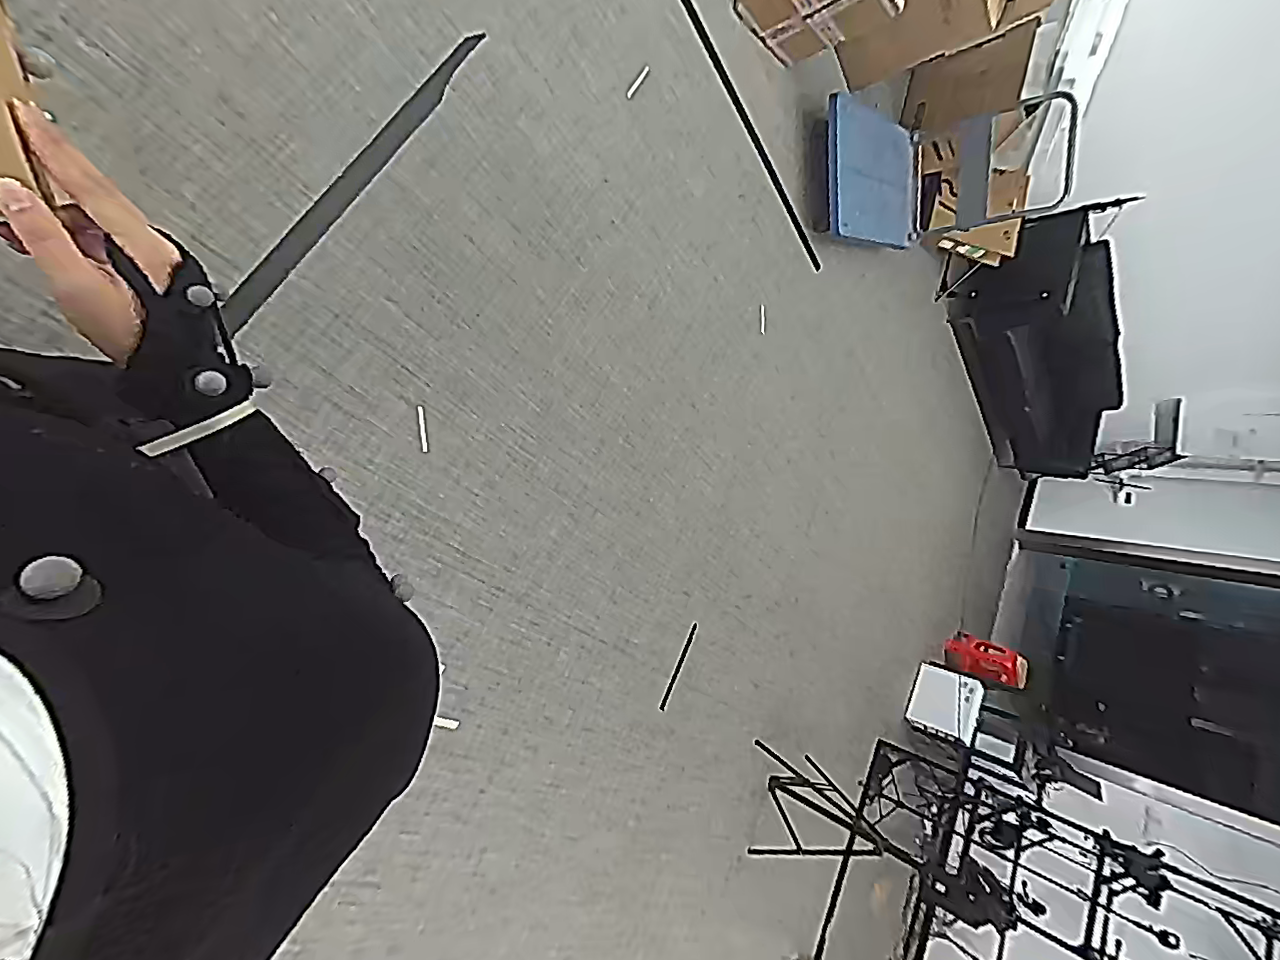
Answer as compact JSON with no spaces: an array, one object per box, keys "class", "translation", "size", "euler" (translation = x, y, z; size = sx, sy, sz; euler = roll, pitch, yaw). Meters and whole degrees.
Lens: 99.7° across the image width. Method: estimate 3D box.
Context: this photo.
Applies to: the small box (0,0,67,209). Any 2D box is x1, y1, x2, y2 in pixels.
[{"class":"small box","translation":[-0.414,-0.228,0.246],"size":[0.179,0.176,0.168],"euler":[-17,127,-37]}]
